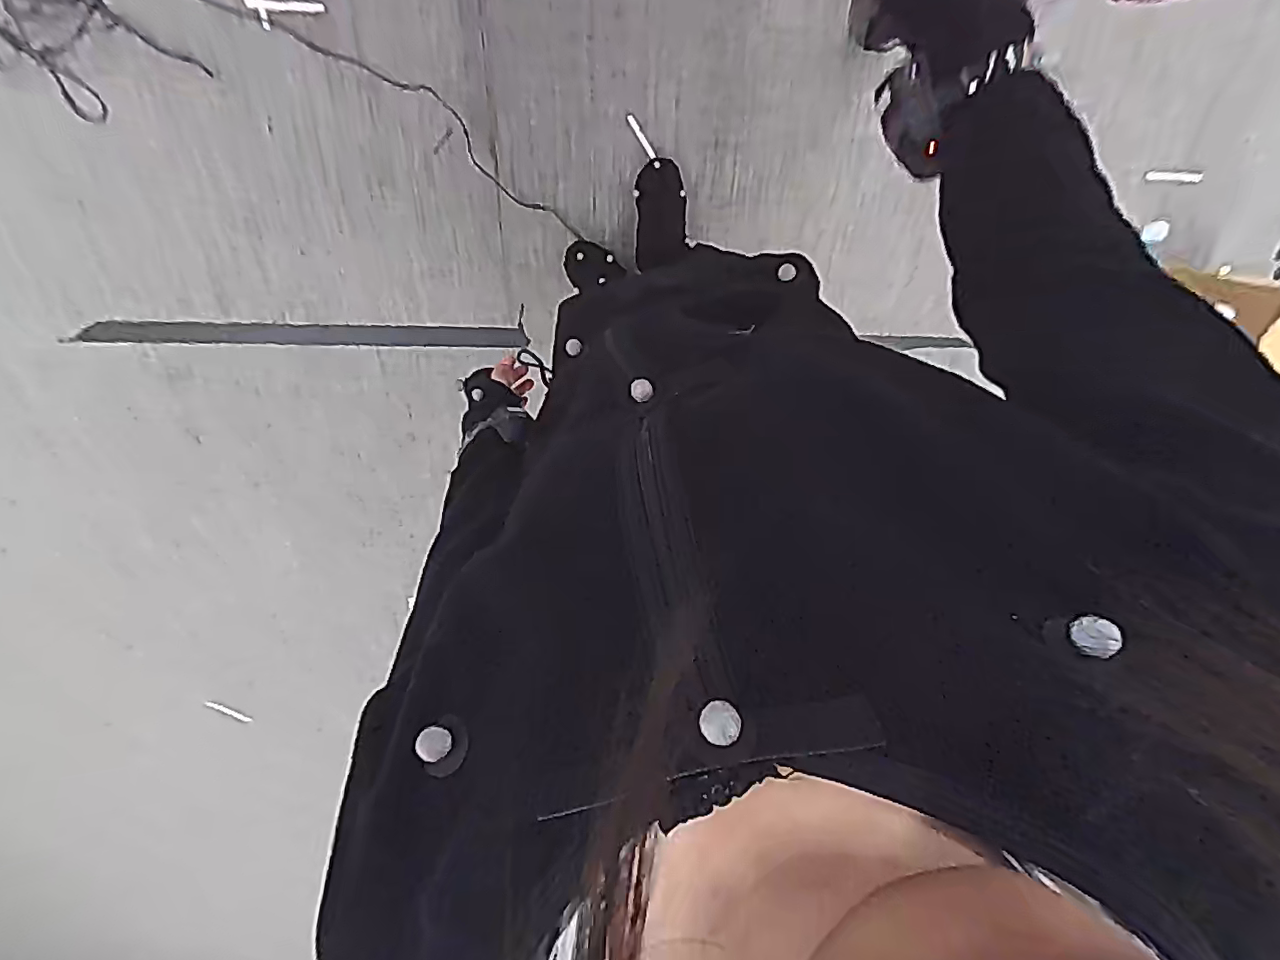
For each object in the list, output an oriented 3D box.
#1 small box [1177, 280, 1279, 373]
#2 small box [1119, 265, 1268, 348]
[{"bbox_3d":[1.420,-0.355,1.244,0.179,0.176,0.168,2,122,-9],"label":"small box"},{"bbox_3d":[1.395,-0.441,1.380,0.168,0.176,0.179,4,120,-9],"label":"small box"}]
